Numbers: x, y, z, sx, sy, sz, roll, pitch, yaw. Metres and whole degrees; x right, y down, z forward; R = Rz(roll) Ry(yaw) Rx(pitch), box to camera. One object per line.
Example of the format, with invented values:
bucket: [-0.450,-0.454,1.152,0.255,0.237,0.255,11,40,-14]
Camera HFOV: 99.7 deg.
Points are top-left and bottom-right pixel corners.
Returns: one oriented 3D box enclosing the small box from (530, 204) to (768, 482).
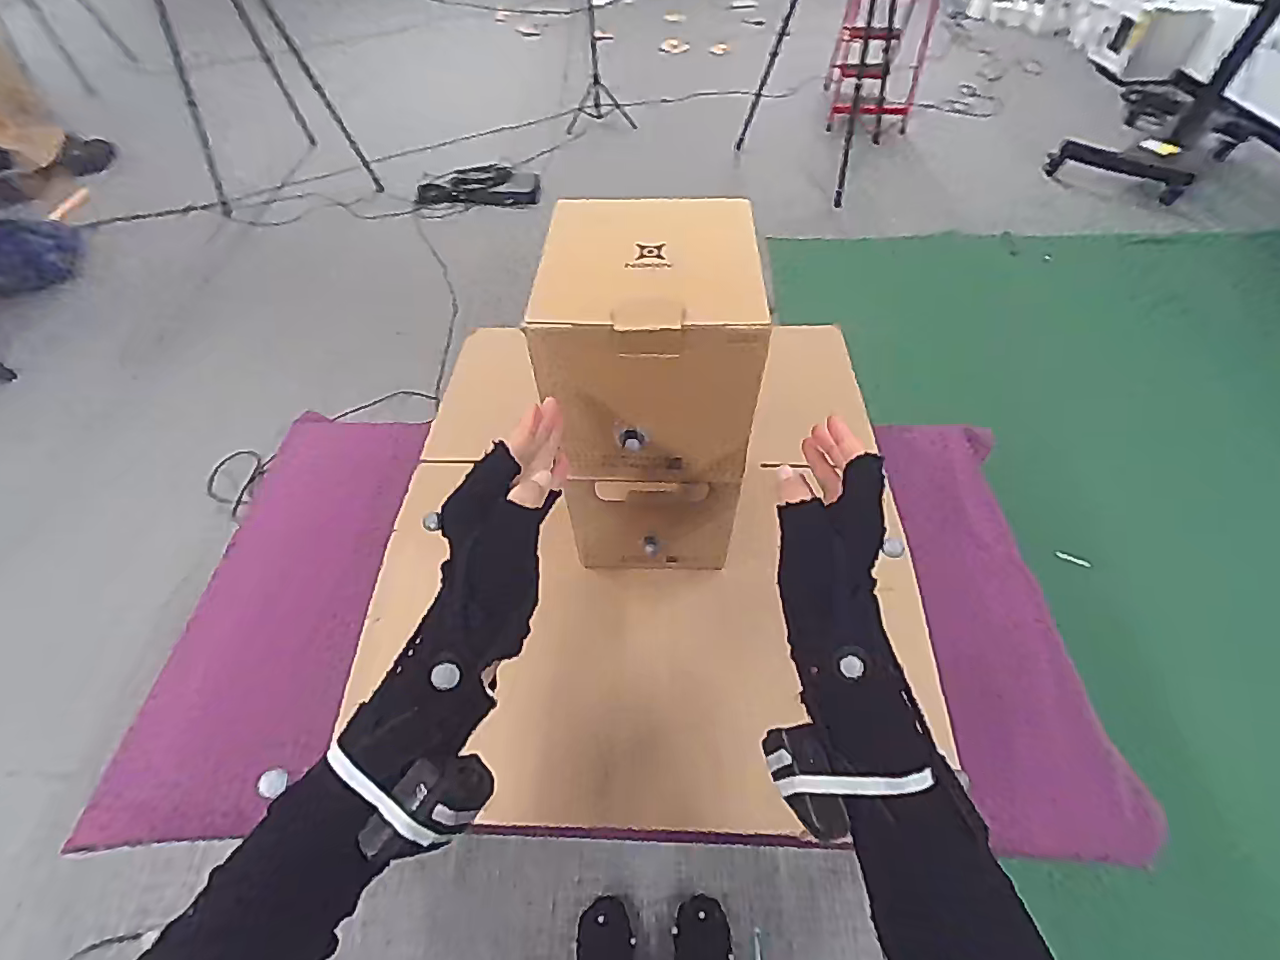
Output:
small box: [0.009,-0.119,0.478,0.168,0.176,0.179,1,53,2]

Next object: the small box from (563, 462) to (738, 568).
small box: [0.014,-0.020,0.608,0.168,0.176,0.179,0,53,3]
